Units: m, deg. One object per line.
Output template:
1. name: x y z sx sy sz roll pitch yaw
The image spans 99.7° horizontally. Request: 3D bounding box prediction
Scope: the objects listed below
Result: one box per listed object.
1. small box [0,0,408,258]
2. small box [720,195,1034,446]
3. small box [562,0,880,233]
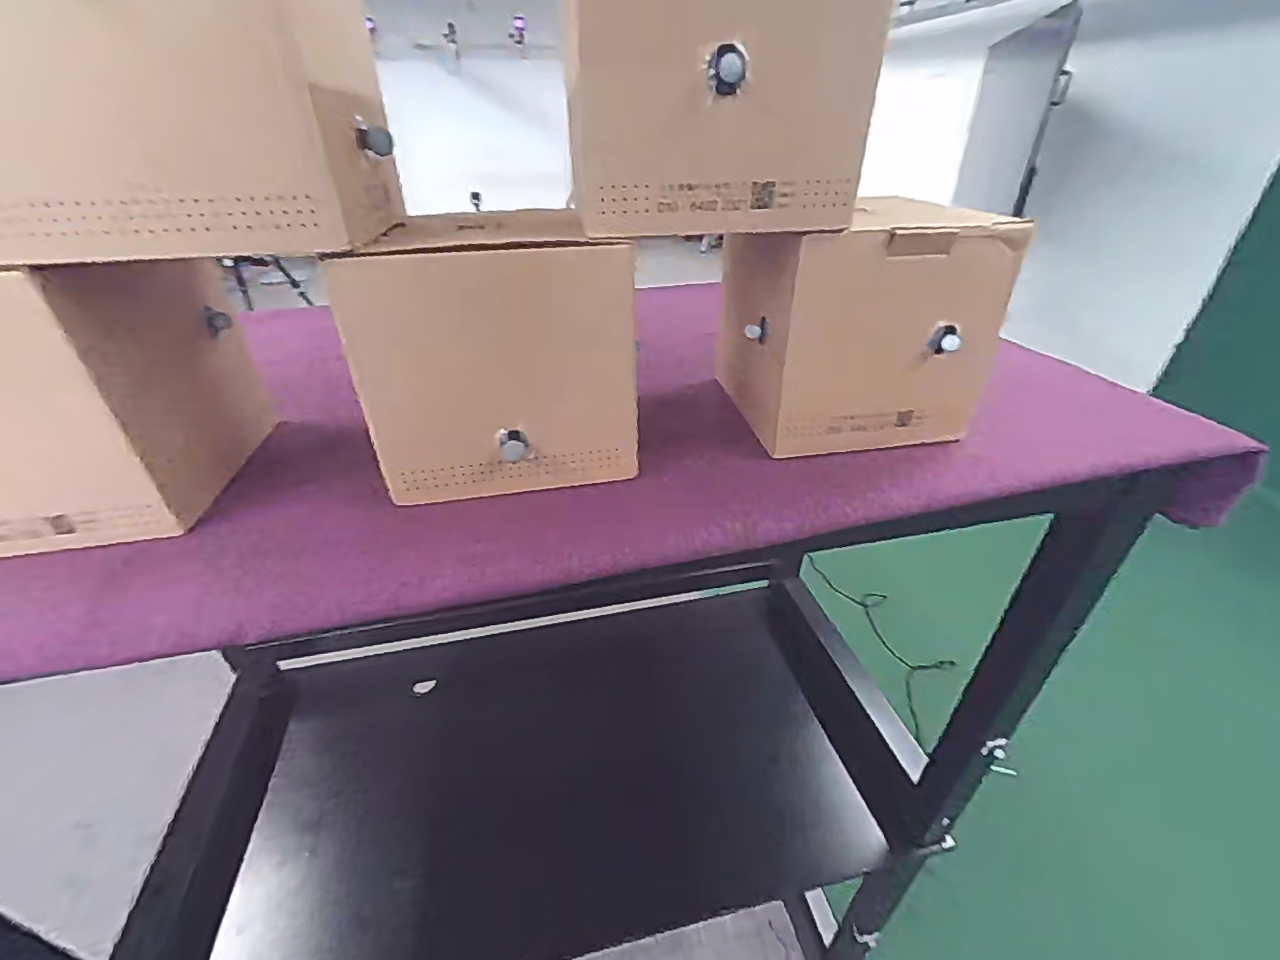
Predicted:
1. small box: -0.249 -0.223 0.296 0.179 0.176 0.168 -5 33 -9
2. small box: 0.170 -0.136 0.458 0.168 0.176 0.179 -5 32 -6
3. small box: 0.038 -0.261 0.350 0.168 0.176 0.179 -5 33 -7
